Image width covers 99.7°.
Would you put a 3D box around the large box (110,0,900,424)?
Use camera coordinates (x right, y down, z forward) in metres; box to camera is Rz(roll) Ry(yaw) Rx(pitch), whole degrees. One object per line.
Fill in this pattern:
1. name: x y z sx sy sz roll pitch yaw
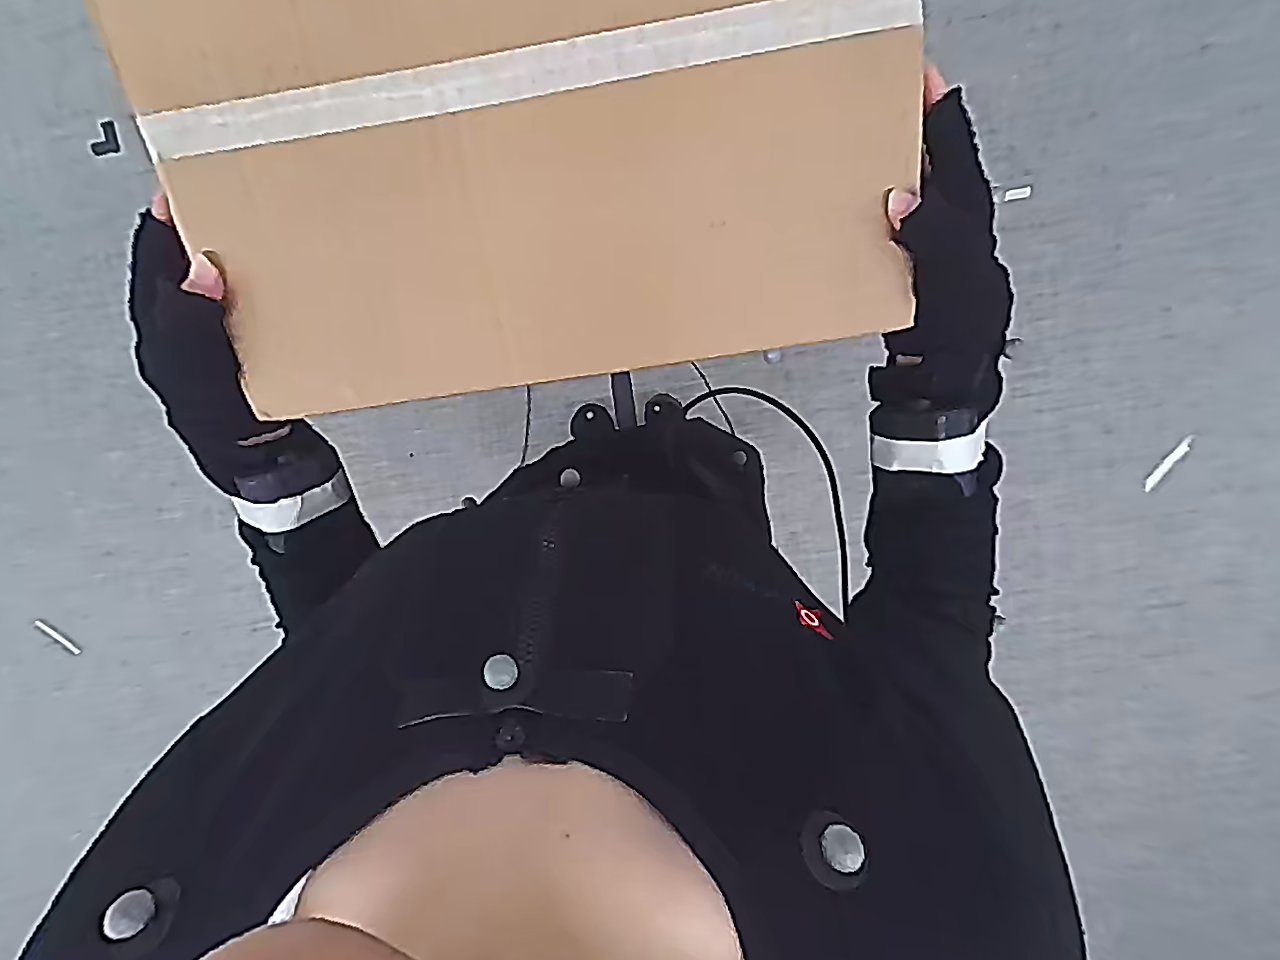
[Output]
1. large box: -0.060 -0.258 0.427 0.408 0.320 0.320 -8 109 3
